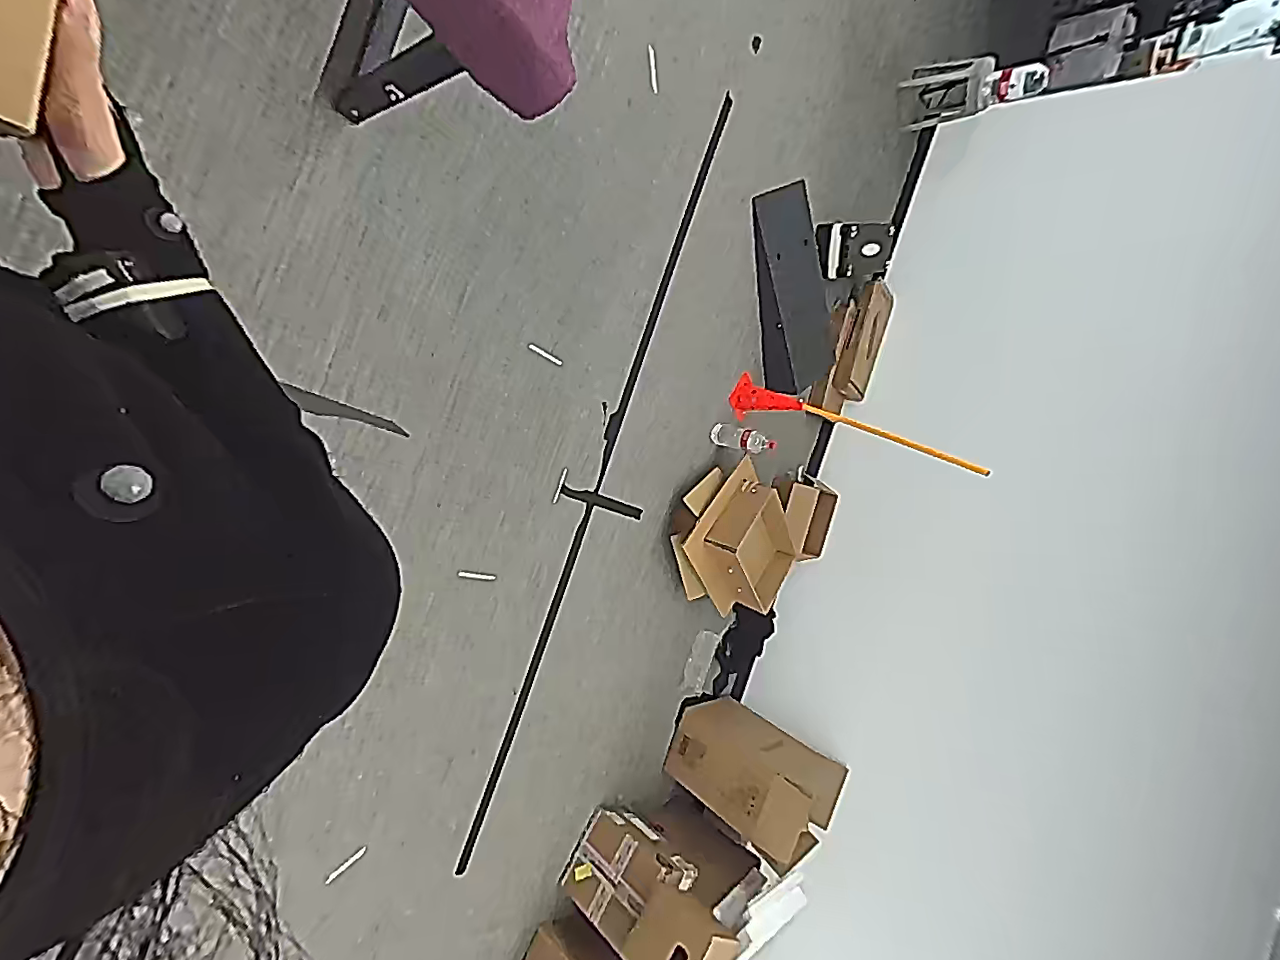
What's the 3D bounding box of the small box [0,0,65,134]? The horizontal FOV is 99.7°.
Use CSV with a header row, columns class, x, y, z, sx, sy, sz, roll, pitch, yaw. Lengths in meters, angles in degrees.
class,x,y,z,sx,sy,sz,roll,pitch,yaw
small box,-0.415,-0.308,0.272,0.168,0.176,0.179,10,101,-56
